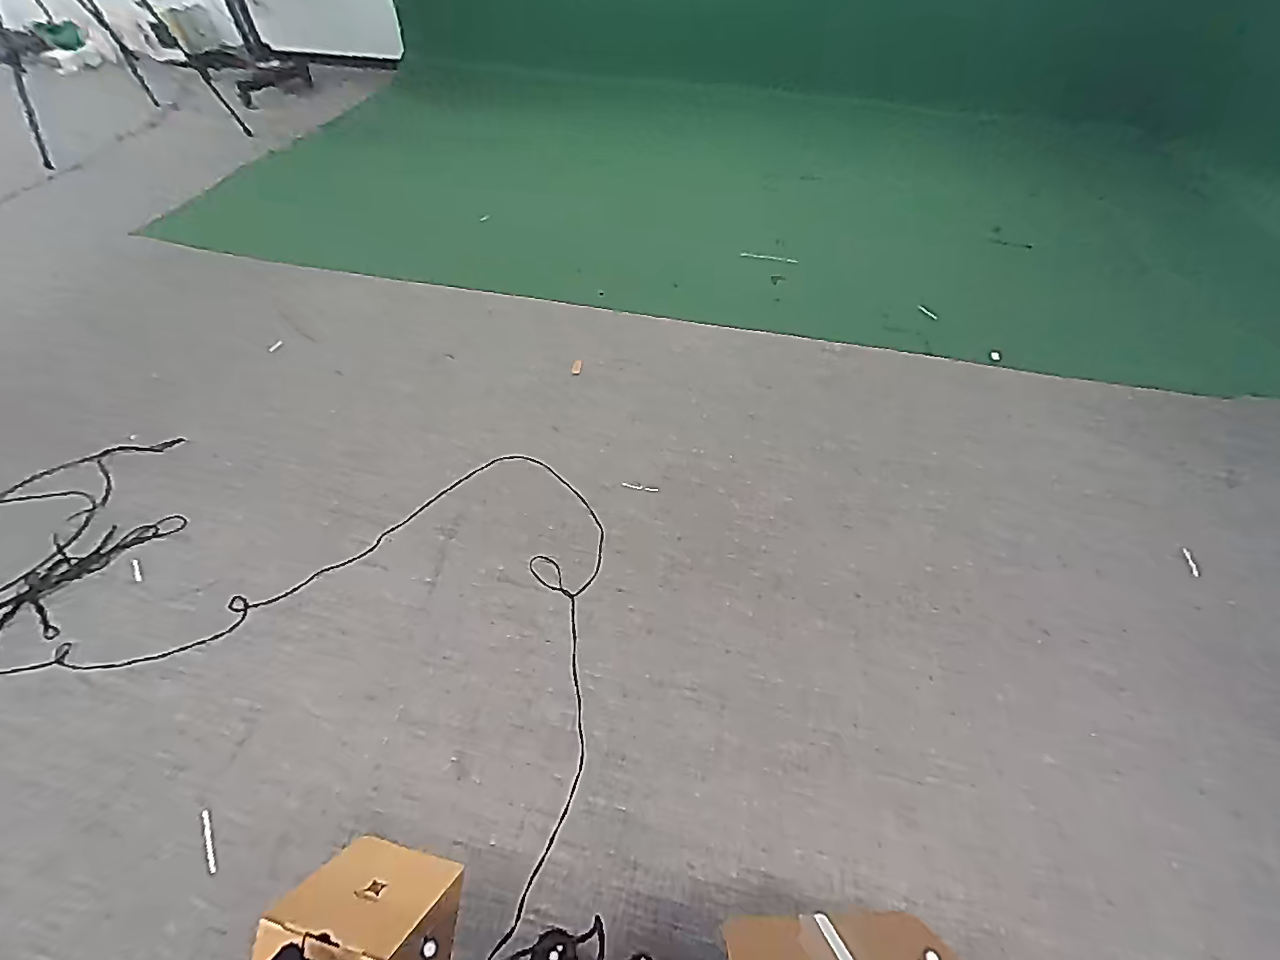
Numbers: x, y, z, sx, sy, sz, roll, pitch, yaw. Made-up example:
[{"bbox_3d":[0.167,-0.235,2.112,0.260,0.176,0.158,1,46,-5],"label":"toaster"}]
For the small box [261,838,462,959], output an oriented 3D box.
[{"bbox_3d":[-0.351,0.599,0.675,0.168,0.179,0.176,8,86,11],"label":"small box"}]
